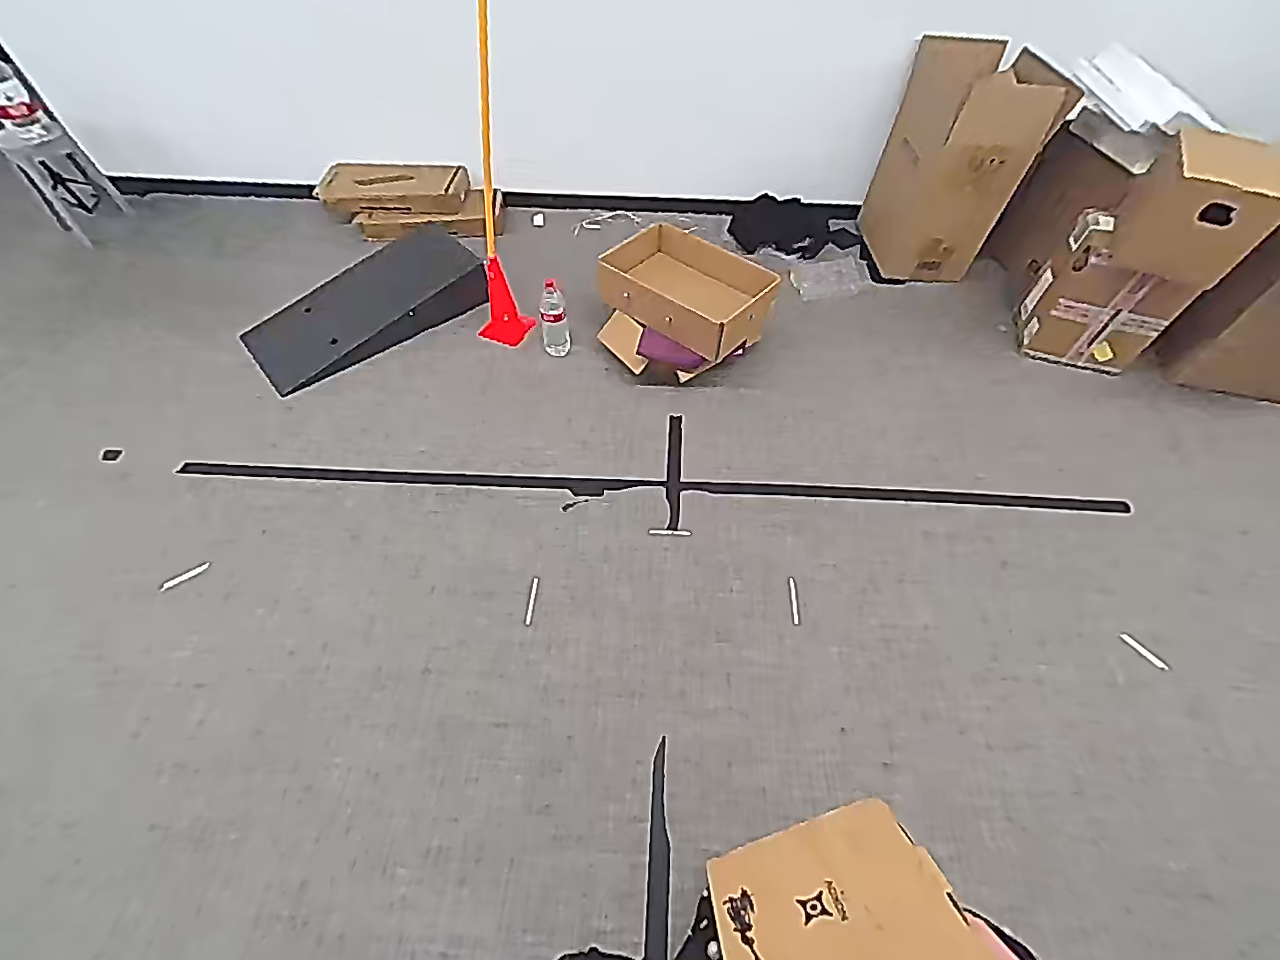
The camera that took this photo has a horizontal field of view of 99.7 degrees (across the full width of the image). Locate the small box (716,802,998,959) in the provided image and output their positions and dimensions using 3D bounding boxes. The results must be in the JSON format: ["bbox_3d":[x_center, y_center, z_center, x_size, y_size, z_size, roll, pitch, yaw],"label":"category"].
[{"bbox_3d":[0.181,0.414,0.437,0.179,0.168,0.176,-21,94,0],"label":"small box"}]
